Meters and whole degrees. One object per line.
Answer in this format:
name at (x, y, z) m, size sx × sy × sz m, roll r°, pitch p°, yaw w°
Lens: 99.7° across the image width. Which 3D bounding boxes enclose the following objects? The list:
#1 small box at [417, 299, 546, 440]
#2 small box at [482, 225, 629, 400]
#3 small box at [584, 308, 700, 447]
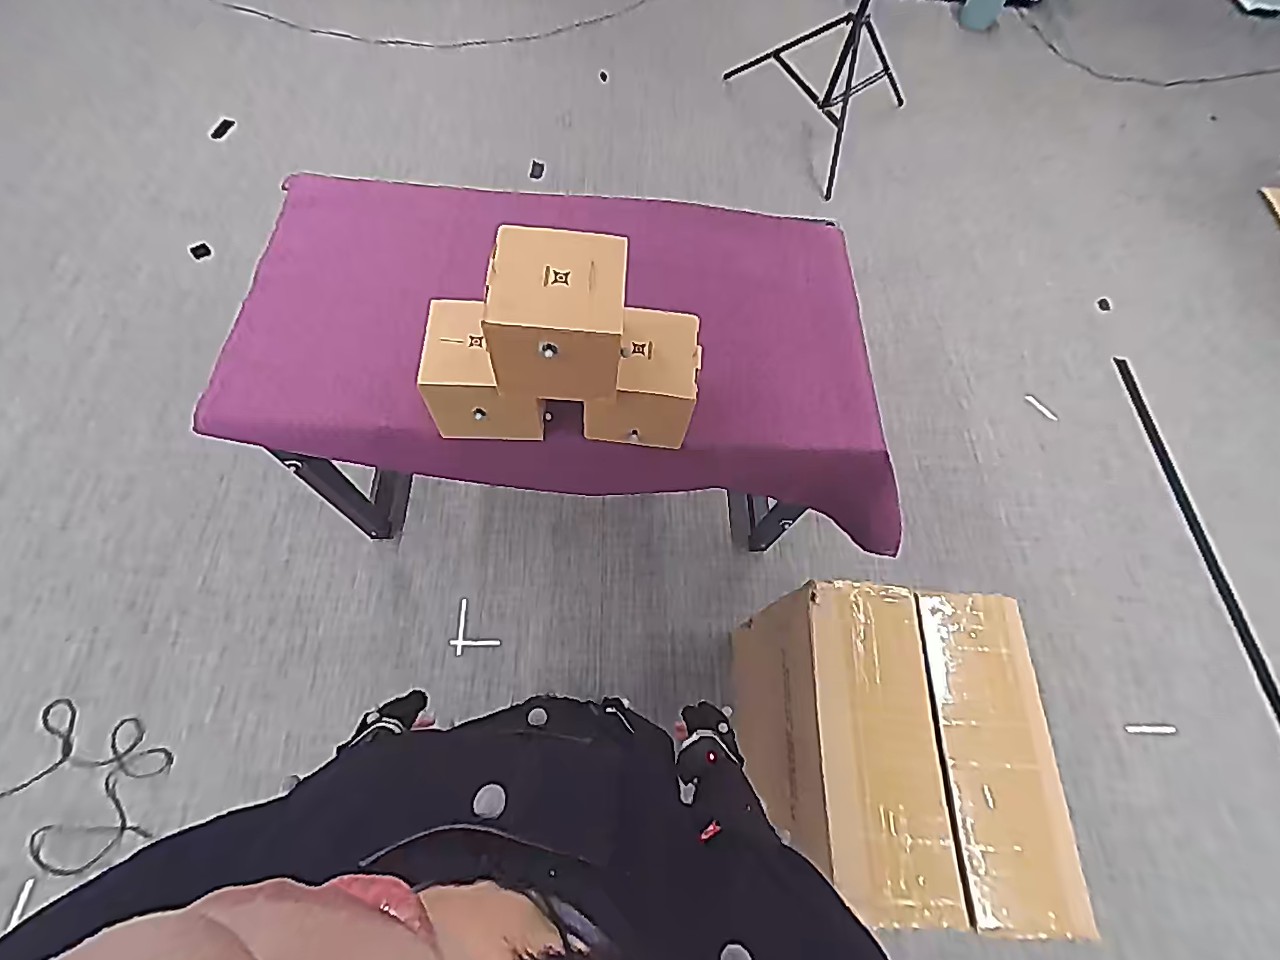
small box at (-0.250, -0.178, 0.908) m, size 0.179 × 0.176 × 0.168 m, roll 1°, pitch 64°, yaw -4°
small box at (-0.111, -0.227, 0.765) m, size 0.179 × 0.176 × 0.168 m, roll 4°, pitch 66°, yaw -5°
small box at (0.000, -0.170, 0.931) m, size 0.179 × 0.176 × 0.168 m, roll 6°, pitch 64°, yaw -2°
